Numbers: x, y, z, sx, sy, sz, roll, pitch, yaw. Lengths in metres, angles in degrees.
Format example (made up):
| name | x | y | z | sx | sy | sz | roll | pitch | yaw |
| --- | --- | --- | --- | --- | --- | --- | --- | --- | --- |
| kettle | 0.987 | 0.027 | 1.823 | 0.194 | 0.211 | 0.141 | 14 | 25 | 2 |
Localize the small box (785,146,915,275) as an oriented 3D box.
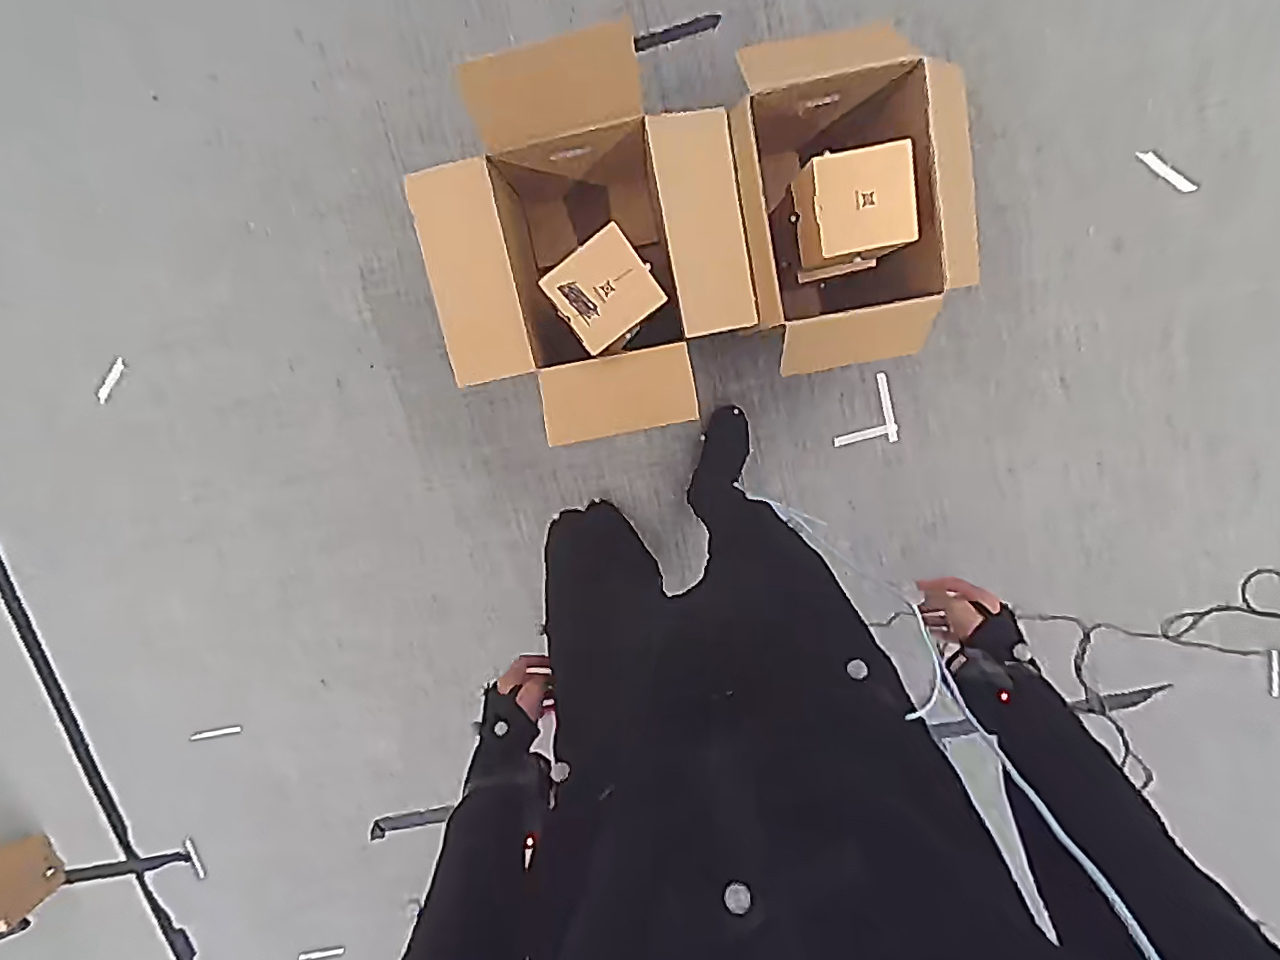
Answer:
| name | x | y | z | sx | sy | sz | roll | pitch | yaw |
| --- | --- | --- | --- | --- | --- | --- | --- | --- | --- |
| small box | 0.389 | -0.497 | 1.020 | 0.179 | 0.176 | 0.168 | -10 | 102 | 3 |
